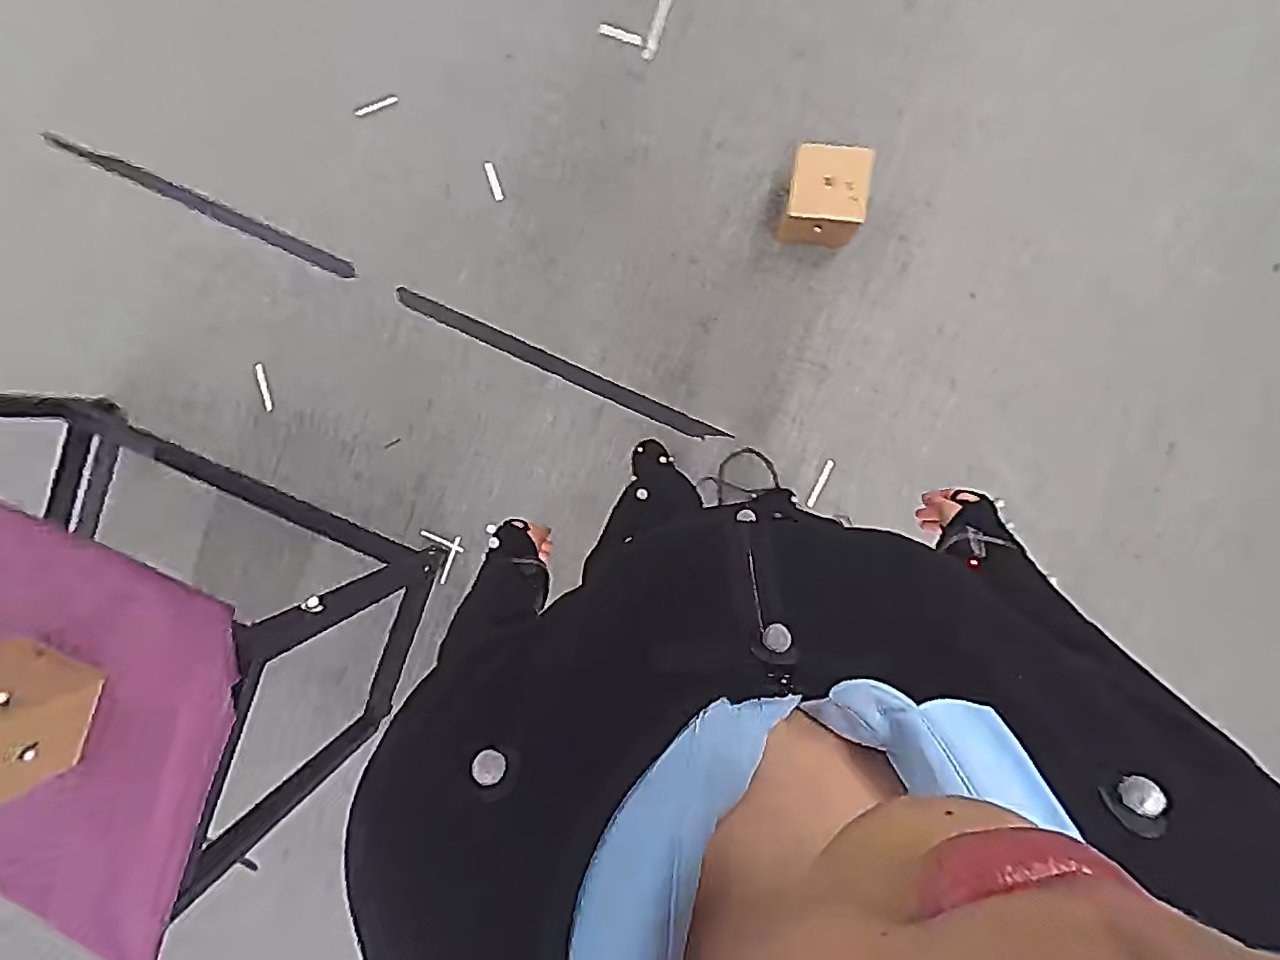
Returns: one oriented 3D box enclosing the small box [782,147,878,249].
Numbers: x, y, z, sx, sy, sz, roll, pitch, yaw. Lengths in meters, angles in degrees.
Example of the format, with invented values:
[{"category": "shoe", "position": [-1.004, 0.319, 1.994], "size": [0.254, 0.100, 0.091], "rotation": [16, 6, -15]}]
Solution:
[{"category": "small box", "position": [0.456, -0.684, 1.329], "size": [0.179, 0.176, 0.168], "rotation": [8, 95, 5]}]
